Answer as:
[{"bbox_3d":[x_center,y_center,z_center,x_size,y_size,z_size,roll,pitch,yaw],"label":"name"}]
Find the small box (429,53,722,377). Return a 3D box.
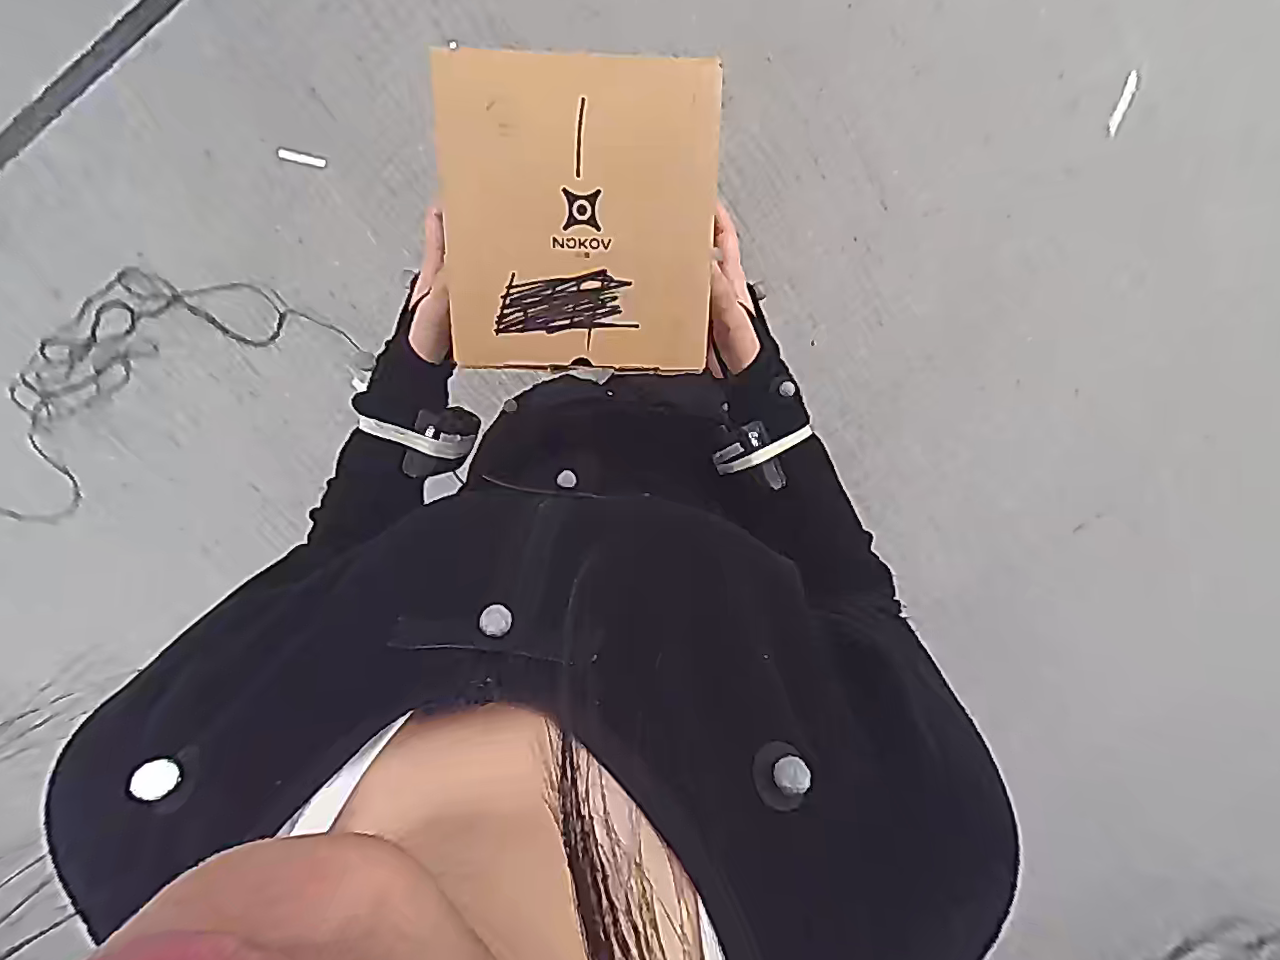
[{"bbox_3d":[-0.040,-0.177,0.403,0.168,0.176,0.179,0,108,-3],"label":"small box"}]
